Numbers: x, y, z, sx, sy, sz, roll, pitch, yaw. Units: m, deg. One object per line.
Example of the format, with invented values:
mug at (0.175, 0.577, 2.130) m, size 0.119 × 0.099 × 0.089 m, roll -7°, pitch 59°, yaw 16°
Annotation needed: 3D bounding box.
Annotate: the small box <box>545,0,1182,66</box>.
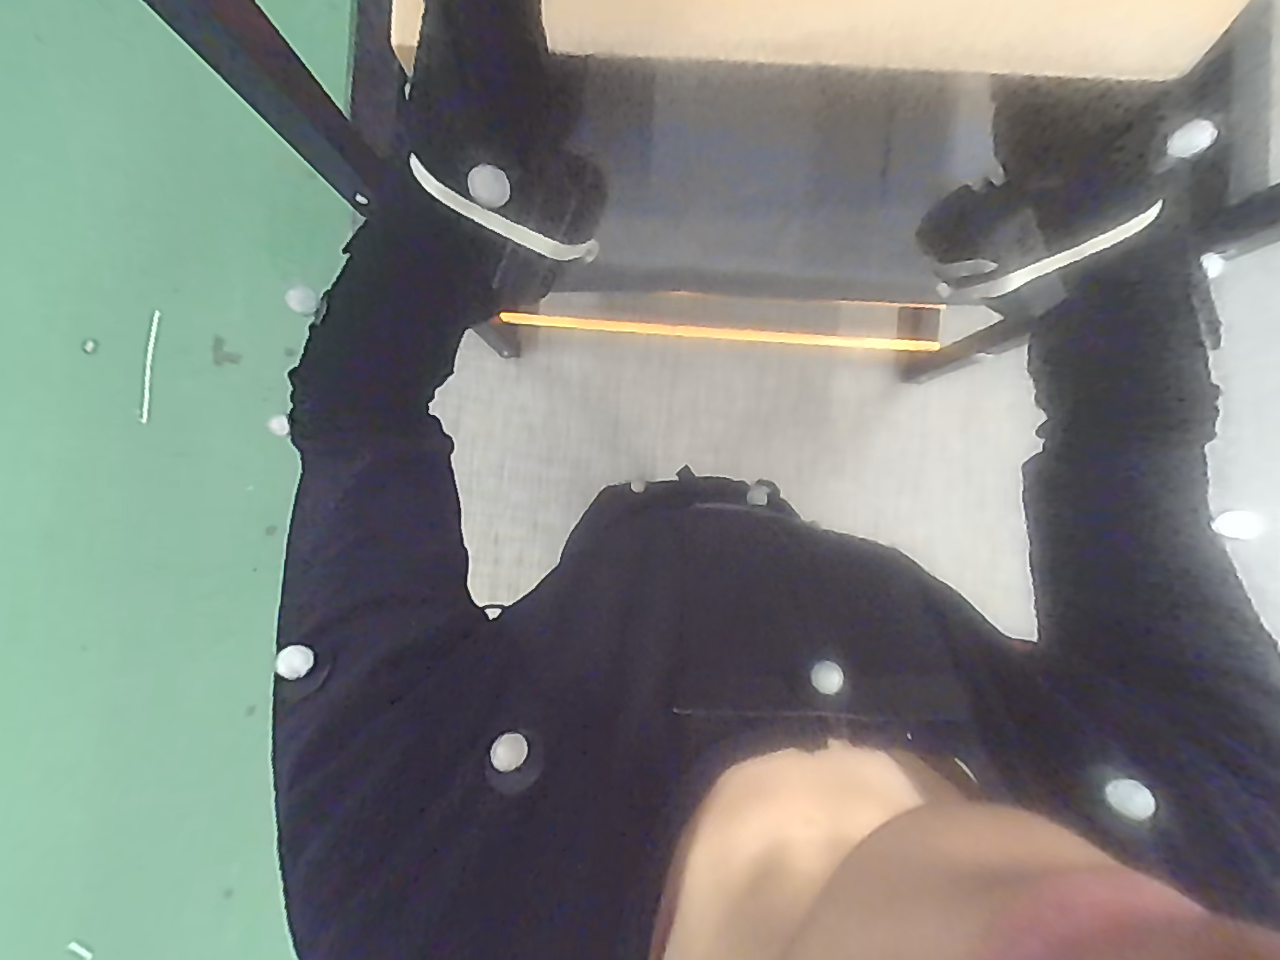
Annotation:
small box at (0.062, -0.230, 0.109) m, size 0.168 × 0.179 × 0.176 m, roll 3°, pitch 62°, yaw 1°
